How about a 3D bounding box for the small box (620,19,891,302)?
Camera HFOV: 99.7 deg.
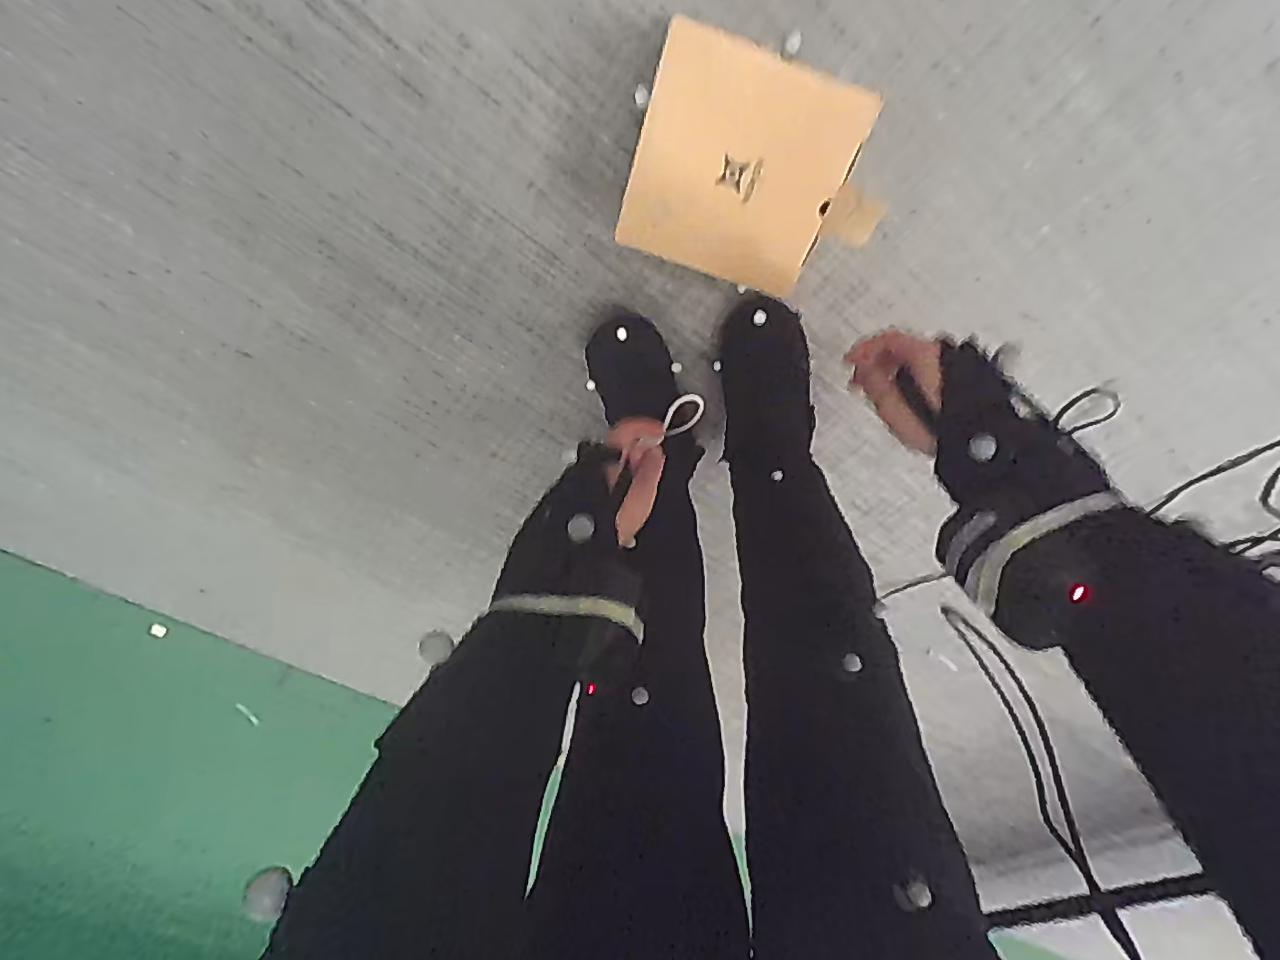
[{"bbox_3d":[0.091,-0.298,0.513,0.179,0.176,0.168,15,128,-8],"label":"small box"}]
